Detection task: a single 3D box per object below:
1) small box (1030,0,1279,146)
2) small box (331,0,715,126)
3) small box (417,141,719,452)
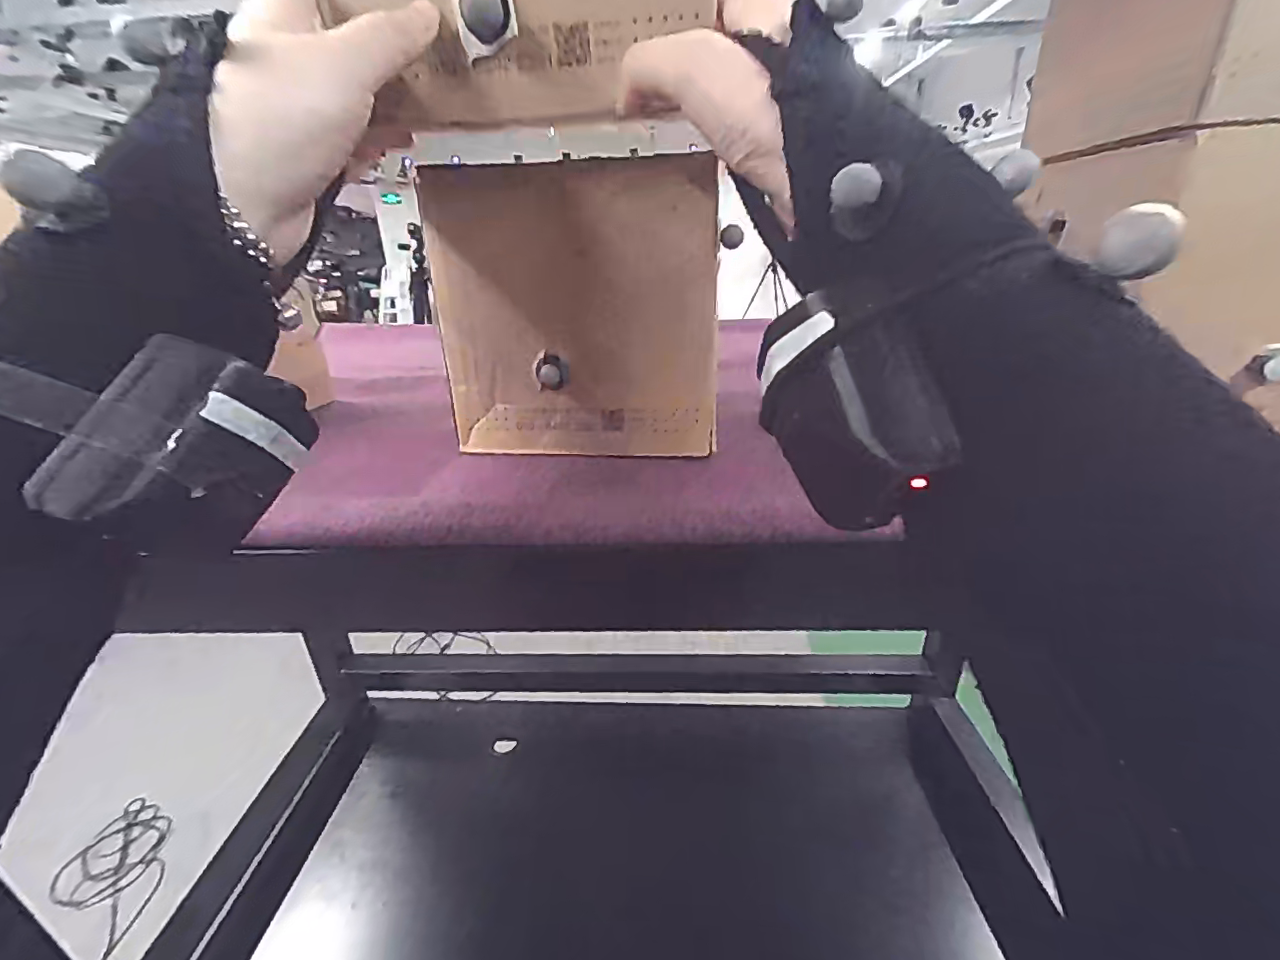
[{"bbox_3d":[0.347,-0.284,0.285,0.168,0.176,0.179,0,25,9],"label":"small box"},{"bbox_3d":[-0.054,-0.276,0.263,0.168,0.176,0.179,-4,34,3],"label":"small box"},{"bbox_3d":[-0.029,-0.128,0.388,0.168,0.176,0.179,1,24,8],"label":"small box"}]
